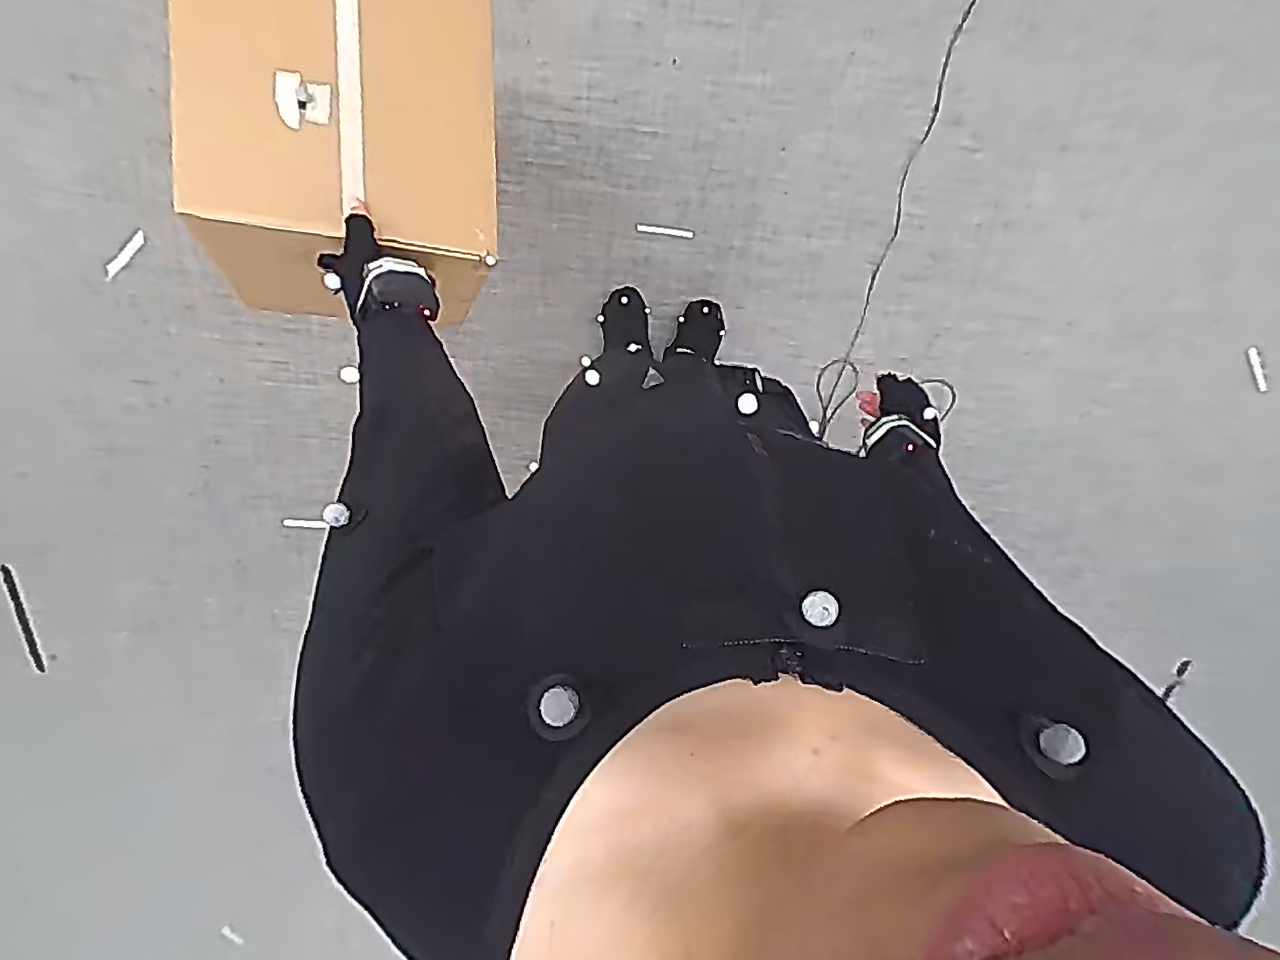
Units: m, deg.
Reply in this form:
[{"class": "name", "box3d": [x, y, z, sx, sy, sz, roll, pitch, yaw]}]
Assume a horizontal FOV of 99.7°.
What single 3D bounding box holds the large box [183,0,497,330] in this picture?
[{"class": "large box", "box3d": [-0.394, -0.459, 0.752, 0.320, 0.320, 0.408, -2, 90, -26]}]
